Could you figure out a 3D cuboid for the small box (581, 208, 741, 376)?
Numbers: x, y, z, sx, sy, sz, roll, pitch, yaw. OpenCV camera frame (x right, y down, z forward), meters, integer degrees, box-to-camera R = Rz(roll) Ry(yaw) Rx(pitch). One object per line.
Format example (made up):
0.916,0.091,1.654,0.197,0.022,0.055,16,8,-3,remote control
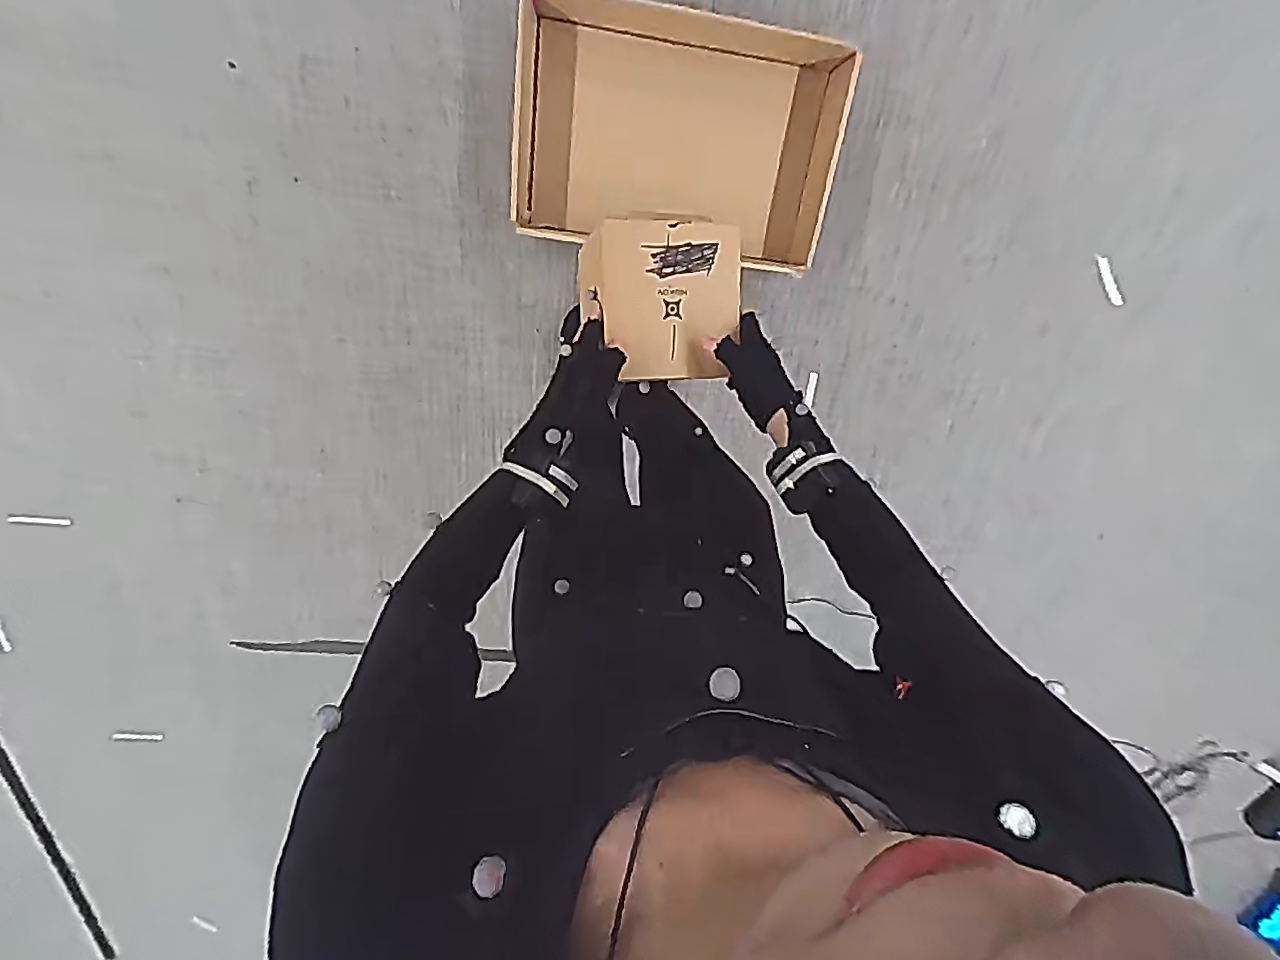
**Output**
0.018,-0.225,0.692,0.168,0.176,0.179,-4,101,-14,small box
